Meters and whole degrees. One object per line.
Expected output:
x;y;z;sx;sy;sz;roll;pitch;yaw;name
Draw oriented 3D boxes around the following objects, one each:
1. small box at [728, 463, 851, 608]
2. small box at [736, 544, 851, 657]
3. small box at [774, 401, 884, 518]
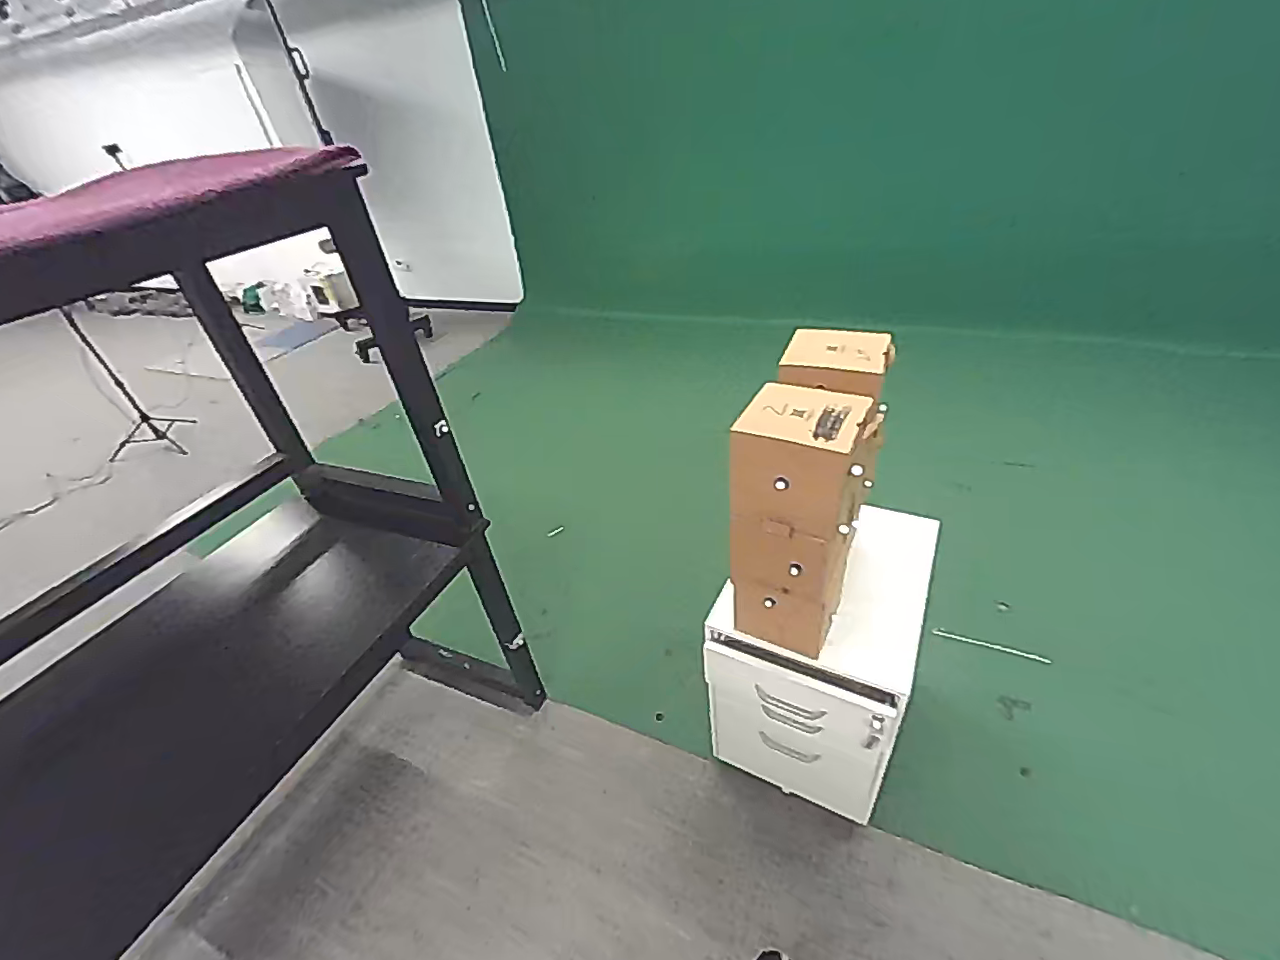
0.266;0.097;0.965;0.168;0.176;0.179;14;40;25;small box
0.298;0.218;1.068;0.179;0.176;0.168;16;41;28;small box
0.389;-0.043;1.134;0.179;0.176;0.168;16;42;28;small box
